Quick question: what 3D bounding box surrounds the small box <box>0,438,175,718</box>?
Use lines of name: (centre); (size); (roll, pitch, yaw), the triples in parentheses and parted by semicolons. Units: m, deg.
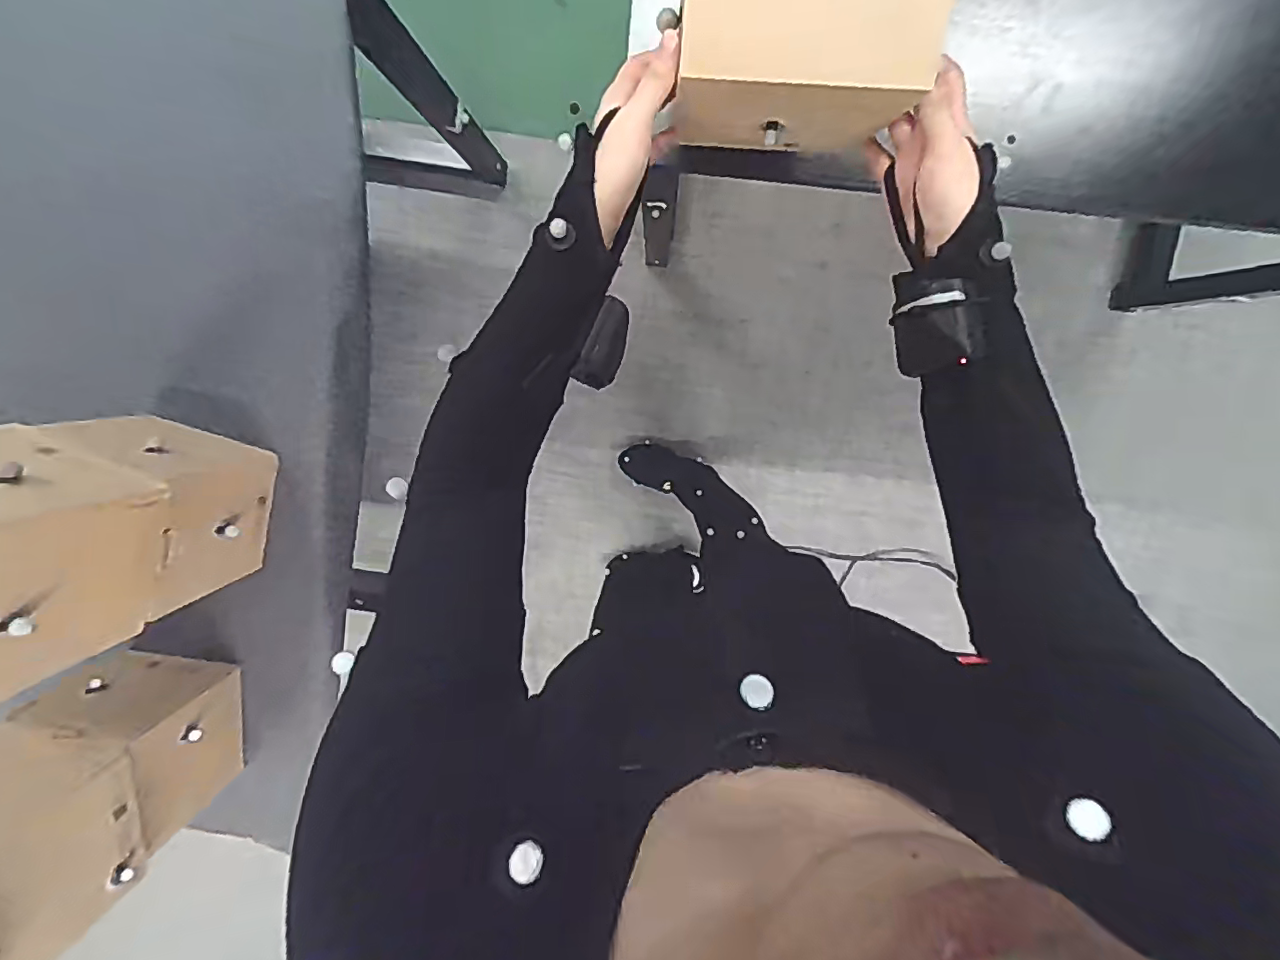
small box: (-0.562, 0.076, 0.471); (0.168, 0.176, 0.179); (22, 103, -1)

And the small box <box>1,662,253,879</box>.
small box: (-0.642, 0.361, 0.700); (0.168, 0.176, 0.179); (7, 102, 3)

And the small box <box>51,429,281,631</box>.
small box: (-0.563, 0.045, 0.631); (0.179, 0.176, 0.168); (16, 102, -1)

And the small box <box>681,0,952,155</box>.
small box: (0.119, -0.359, 0.402); (0.168, 0.176, 0.179); (4, 109, 2)
